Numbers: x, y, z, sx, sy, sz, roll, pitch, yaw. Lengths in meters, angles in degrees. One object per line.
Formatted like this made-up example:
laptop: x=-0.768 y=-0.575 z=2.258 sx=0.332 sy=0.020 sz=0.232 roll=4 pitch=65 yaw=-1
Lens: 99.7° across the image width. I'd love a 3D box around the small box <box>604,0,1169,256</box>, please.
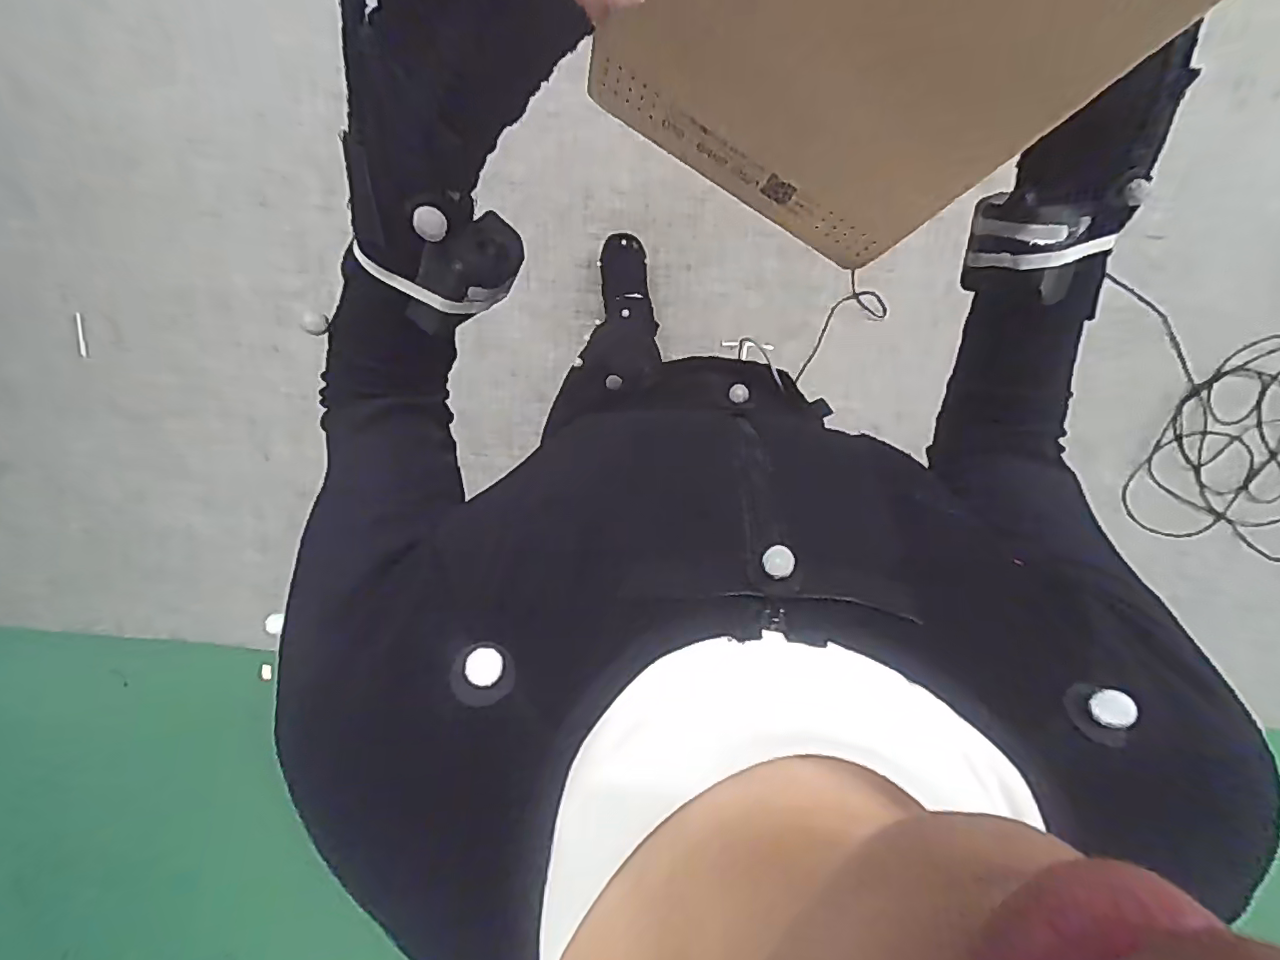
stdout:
small box: x=0.099 y=-0.236 z=0.219 sx=0.168 sy=0.176 sz=0.179 roll=29 pitch=78 yaw=-8
